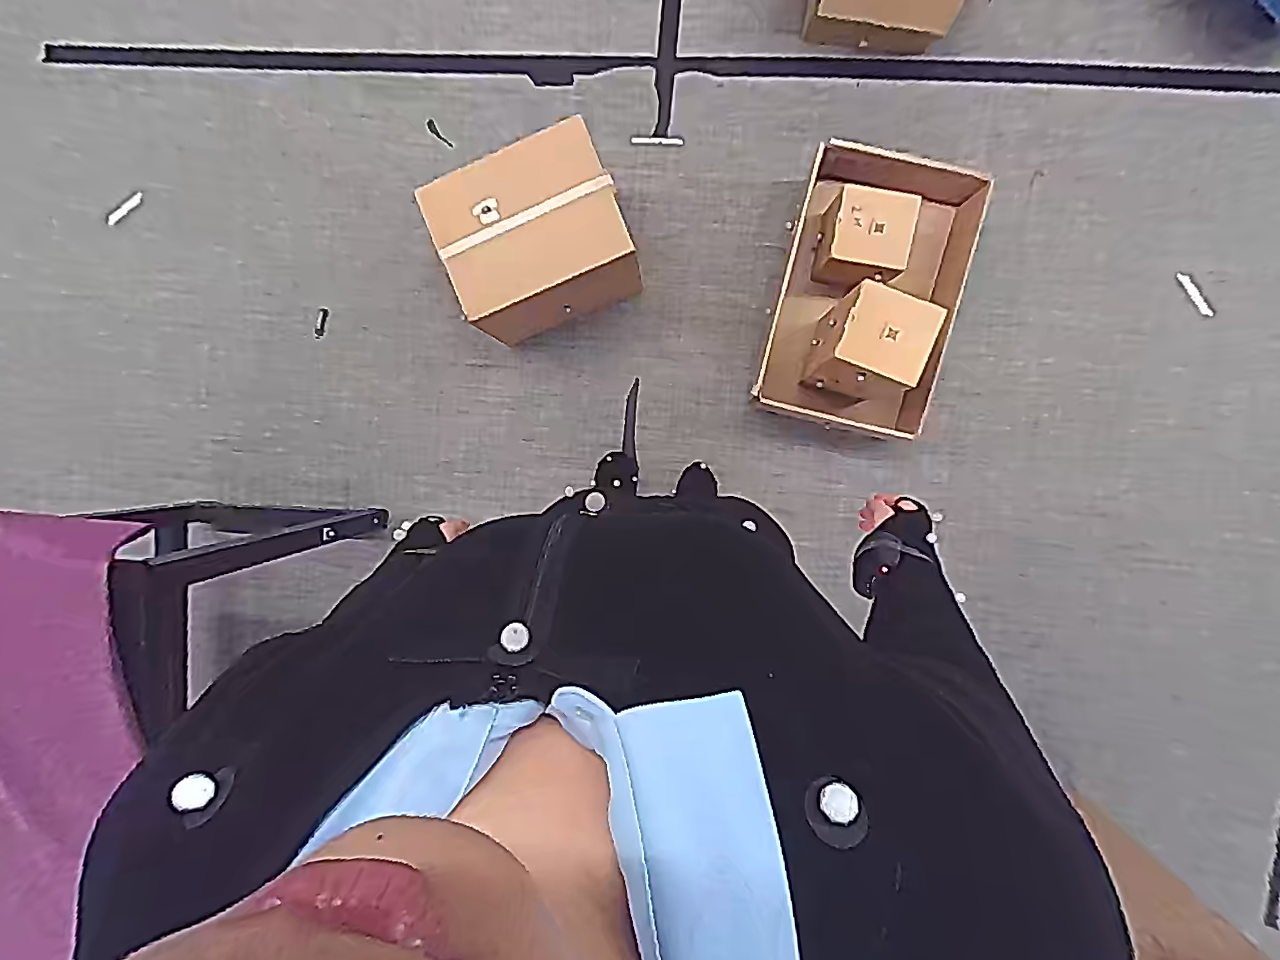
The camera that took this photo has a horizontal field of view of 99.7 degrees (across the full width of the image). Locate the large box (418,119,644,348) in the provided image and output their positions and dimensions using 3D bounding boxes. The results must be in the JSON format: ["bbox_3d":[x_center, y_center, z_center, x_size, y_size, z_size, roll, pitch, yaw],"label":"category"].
[{"bbox_3d":[-0.236,-0.562,1.316,0.408,0.320,0.320,-22,91,6],"label":"large box"}]
